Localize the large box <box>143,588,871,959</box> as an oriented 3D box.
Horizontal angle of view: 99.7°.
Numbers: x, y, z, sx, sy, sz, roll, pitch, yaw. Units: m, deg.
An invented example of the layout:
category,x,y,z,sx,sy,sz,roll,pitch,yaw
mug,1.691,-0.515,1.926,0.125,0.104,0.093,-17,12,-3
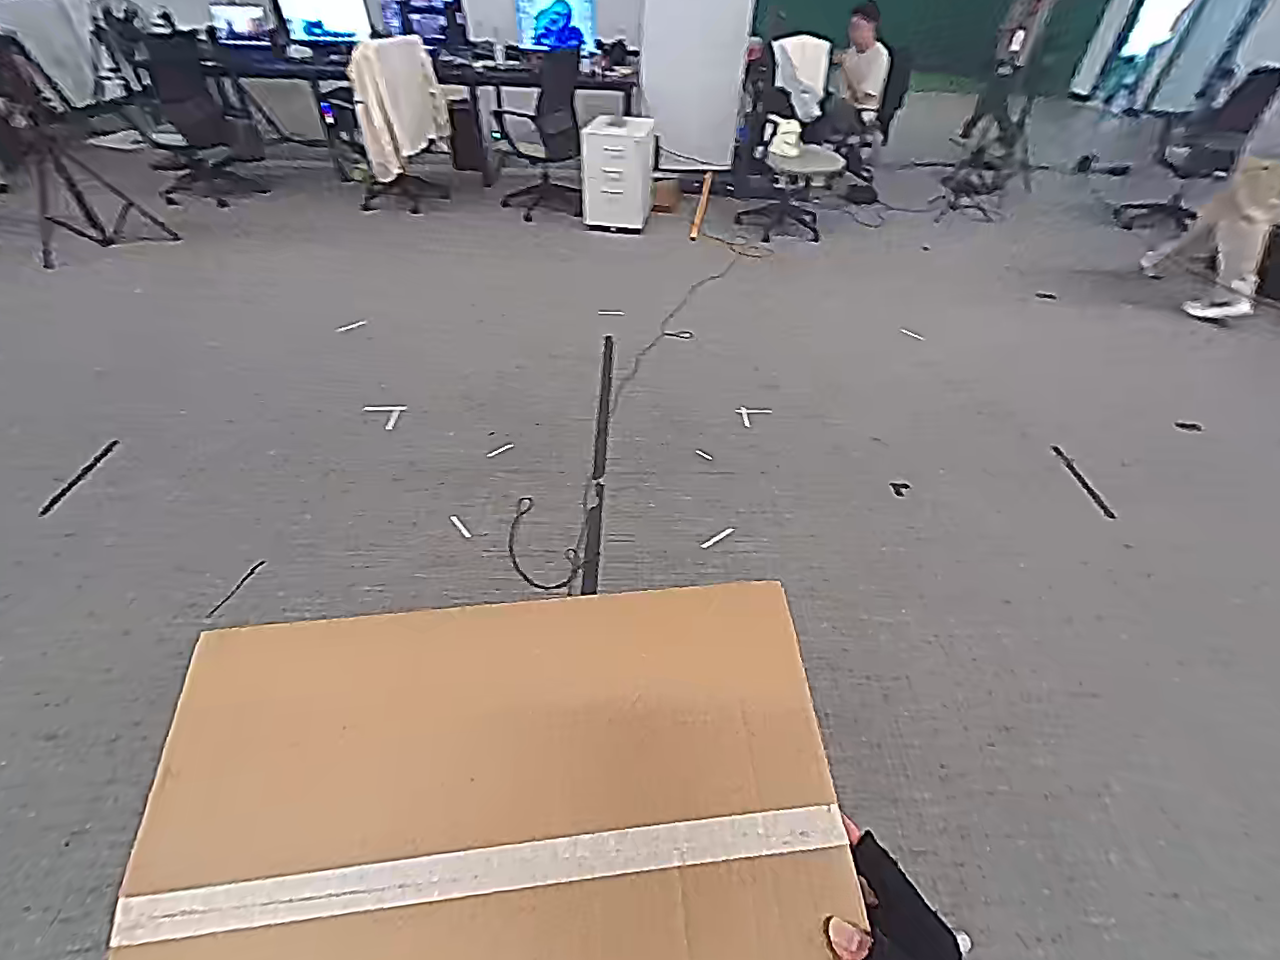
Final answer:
category,x,y,z,sx,sy,sz,roll,pitch,yaw
large box,-0.079,0.303,0.447,0.408,0.320,0.320,-4,61,-4
